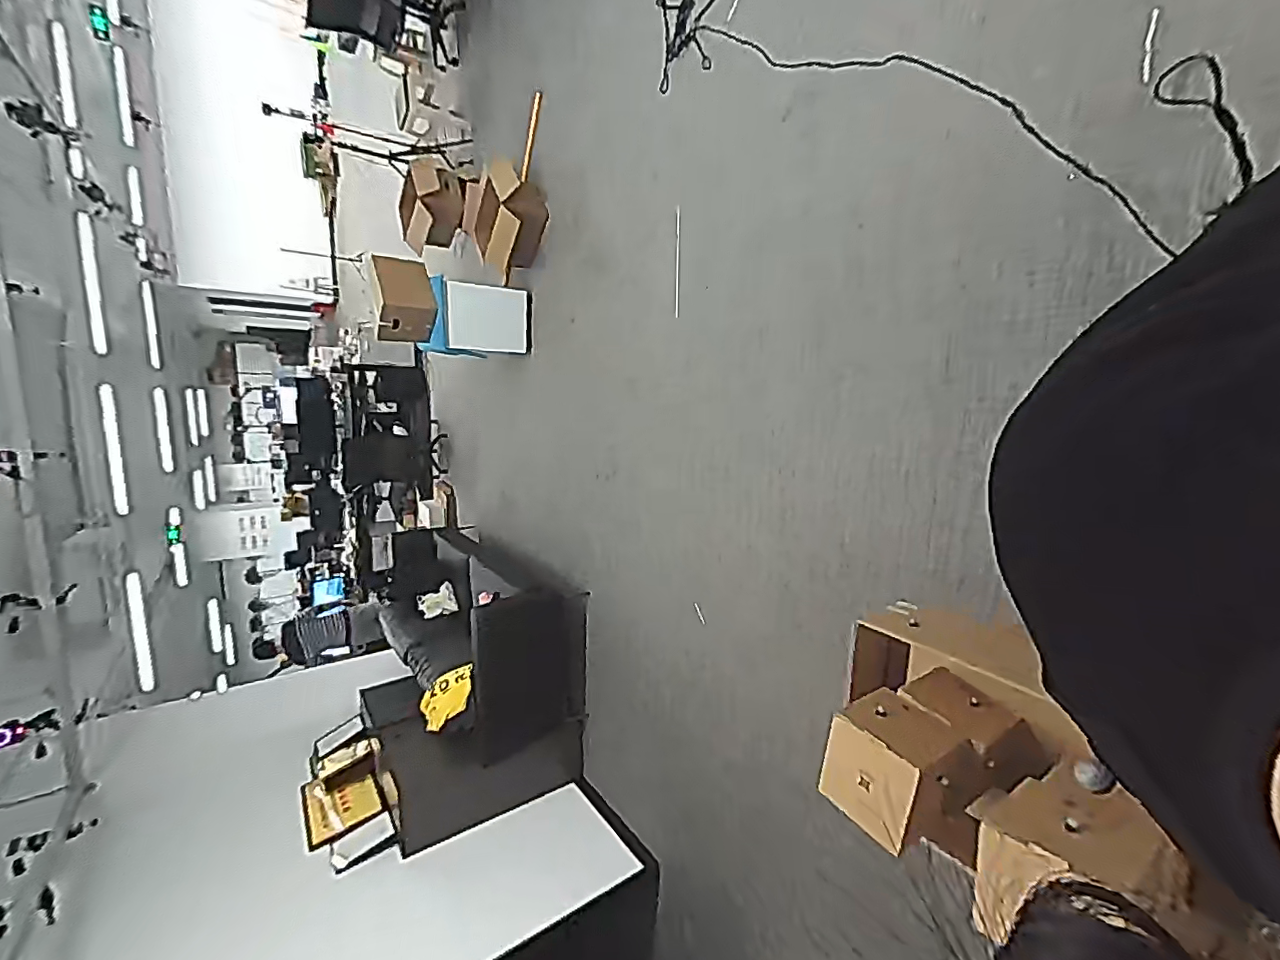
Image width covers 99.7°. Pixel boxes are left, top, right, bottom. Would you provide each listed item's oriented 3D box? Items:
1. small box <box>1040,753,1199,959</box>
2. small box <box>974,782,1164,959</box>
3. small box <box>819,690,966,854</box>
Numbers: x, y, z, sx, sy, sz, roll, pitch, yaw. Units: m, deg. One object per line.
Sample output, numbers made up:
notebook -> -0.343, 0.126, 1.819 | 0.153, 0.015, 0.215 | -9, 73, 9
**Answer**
small box -> 0.747, 0.577, 0.857 | 0.168, 0.176, 0.179 | 10, 102, 54
small box -> 0.608, 0.573, 0.769 | 0.168, 0.176, 0.179 | 11, 102, 55
small box -> 0.458, 0.514, 0.982 | 0.168, 0.176, 0.179 | 25, 114, 53
